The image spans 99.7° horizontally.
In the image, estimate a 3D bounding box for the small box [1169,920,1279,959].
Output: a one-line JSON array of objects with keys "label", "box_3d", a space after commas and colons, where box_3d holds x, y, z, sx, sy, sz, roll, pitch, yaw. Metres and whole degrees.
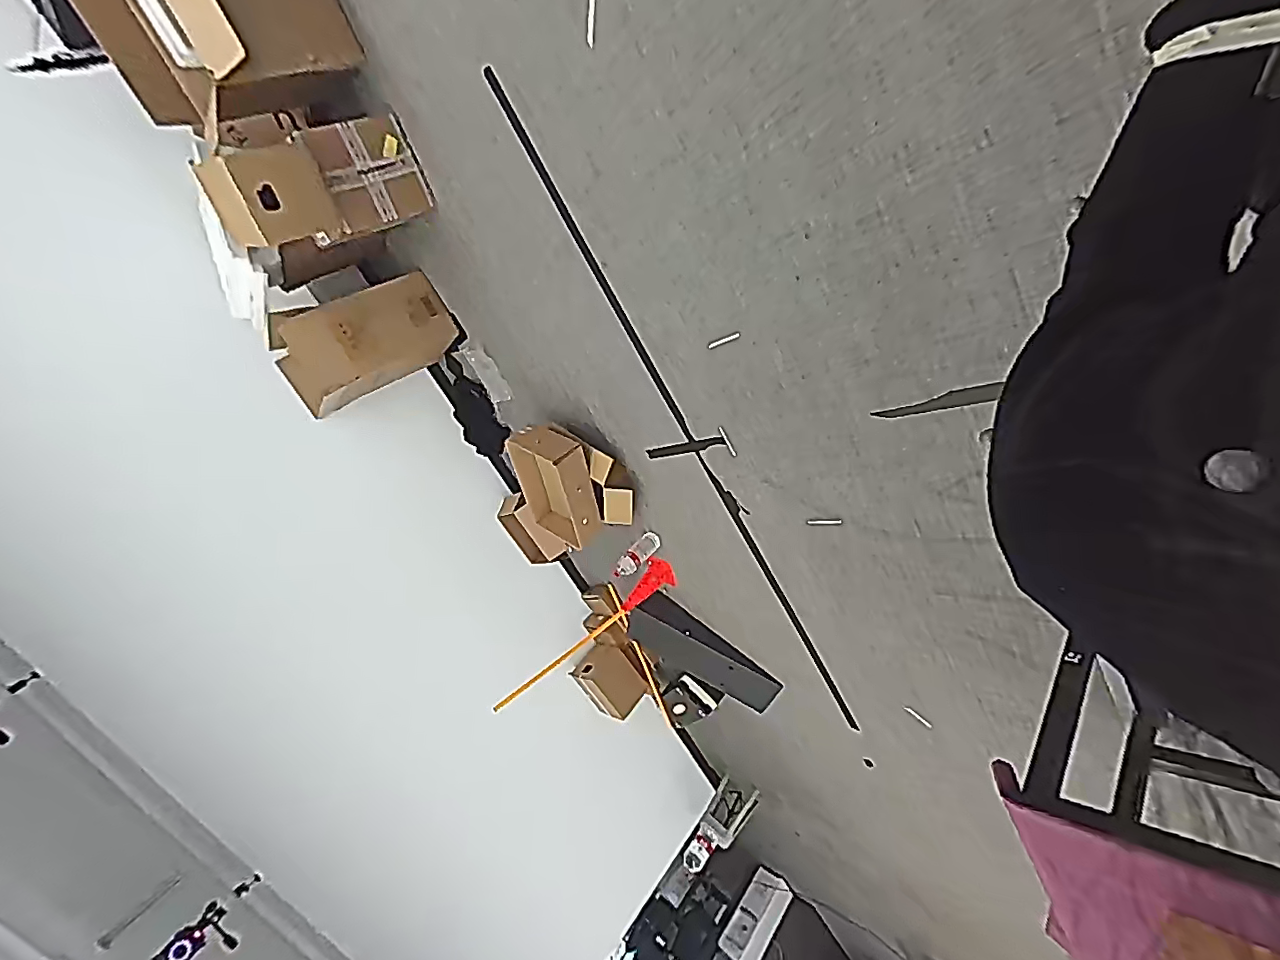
[{"label": "small box", "box_3d": [1.058, 0.929, 0.947, 0.179, 0.176, 0.168, -6, 120, 52]}]
